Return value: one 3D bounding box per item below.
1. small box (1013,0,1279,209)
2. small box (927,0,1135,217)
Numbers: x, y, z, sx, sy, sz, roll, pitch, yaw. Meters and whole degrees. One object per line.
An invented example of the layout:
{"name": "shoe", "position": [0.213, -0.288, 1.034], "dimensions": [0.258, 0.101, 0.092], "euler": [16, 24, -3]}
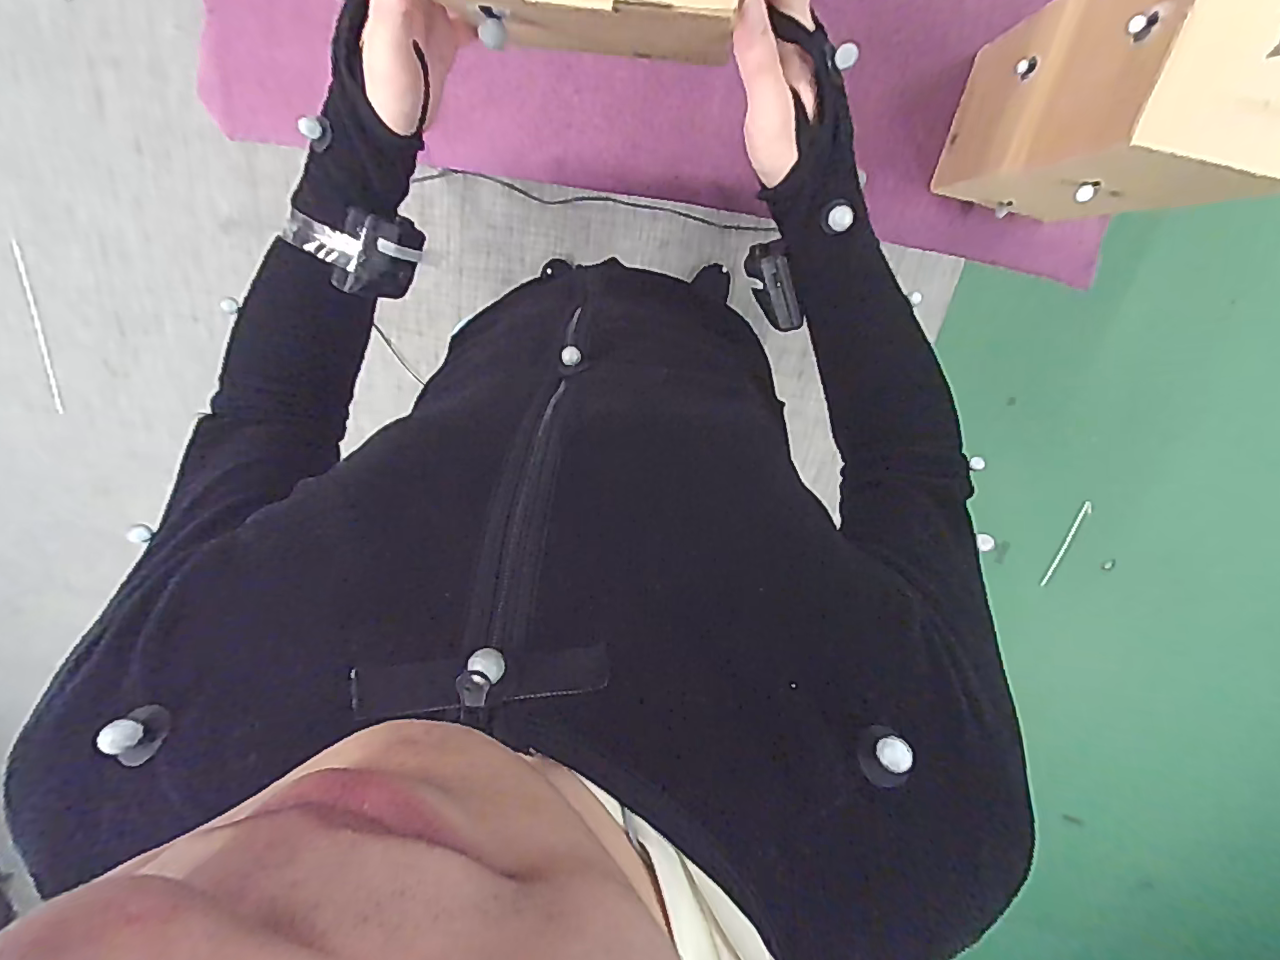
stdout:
{"name": "small box", "position": [0.489, -0.364, 0.488], "dimensions": [0.168, 0.176, 0.179], "euler": [12, 111, -2]}
{"name": "small box", "position": [0.487, -0.421, 0.642], "dimensions": [0.179, 0.176, 0.168], "euler": [12, 110, -4]}
